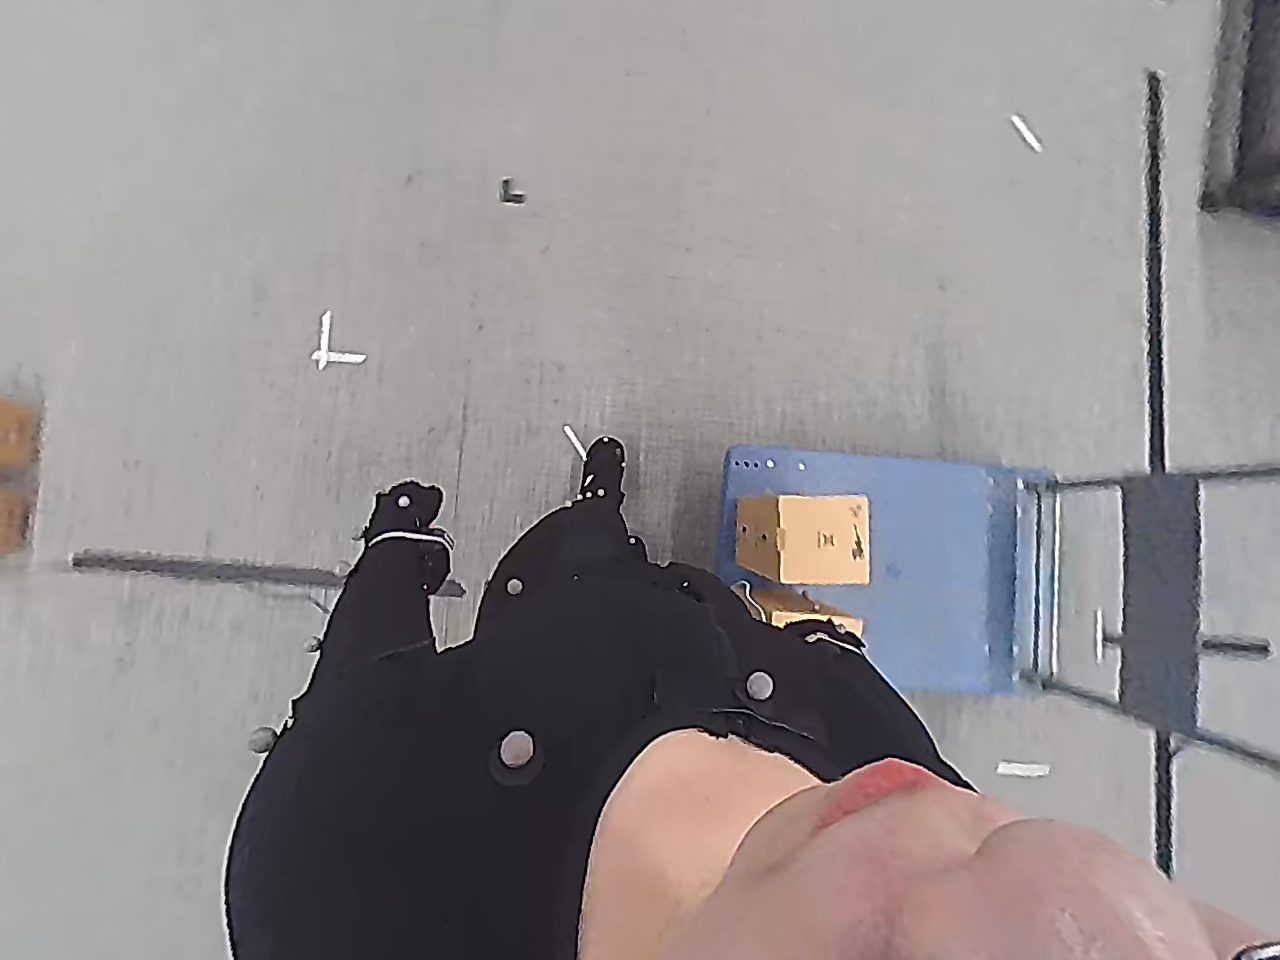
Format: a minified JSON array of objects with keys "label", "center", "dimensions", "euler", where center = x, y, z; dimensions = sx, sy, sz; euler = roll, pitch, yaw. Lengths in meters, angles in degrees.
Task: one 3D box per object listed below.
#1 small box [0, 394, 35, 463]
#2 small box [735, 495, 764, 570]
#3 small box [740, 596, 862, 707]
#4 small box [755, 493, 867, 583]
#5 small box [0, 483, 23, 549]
[{"label":"small box","center":[-1.668,-0.128,1.328],"dimensions":[0.179,0.176,0.168],"euler":[-4,87,-5]},{"label":"small box","center":[0.326,0.125,1.259],"dimensions":[0.179,0.176,0.168],"euler":[4,87,-4]},{"label":"small box","center":[0.314,0.333,1.079],"dimensions":[0.179,0.176,0.168],"euler":[7,87,-3]},{"label":"small box","center":[0.337,0.114,1.094],"dimensions":[0.179,0.176,0.168],"euler":[2,87,-3]},{"label":"small box","center":[-1.677,0.088,1.314],"dimensions":[0.179,0.176,0.168],"euler":[0,86,-3]}]
